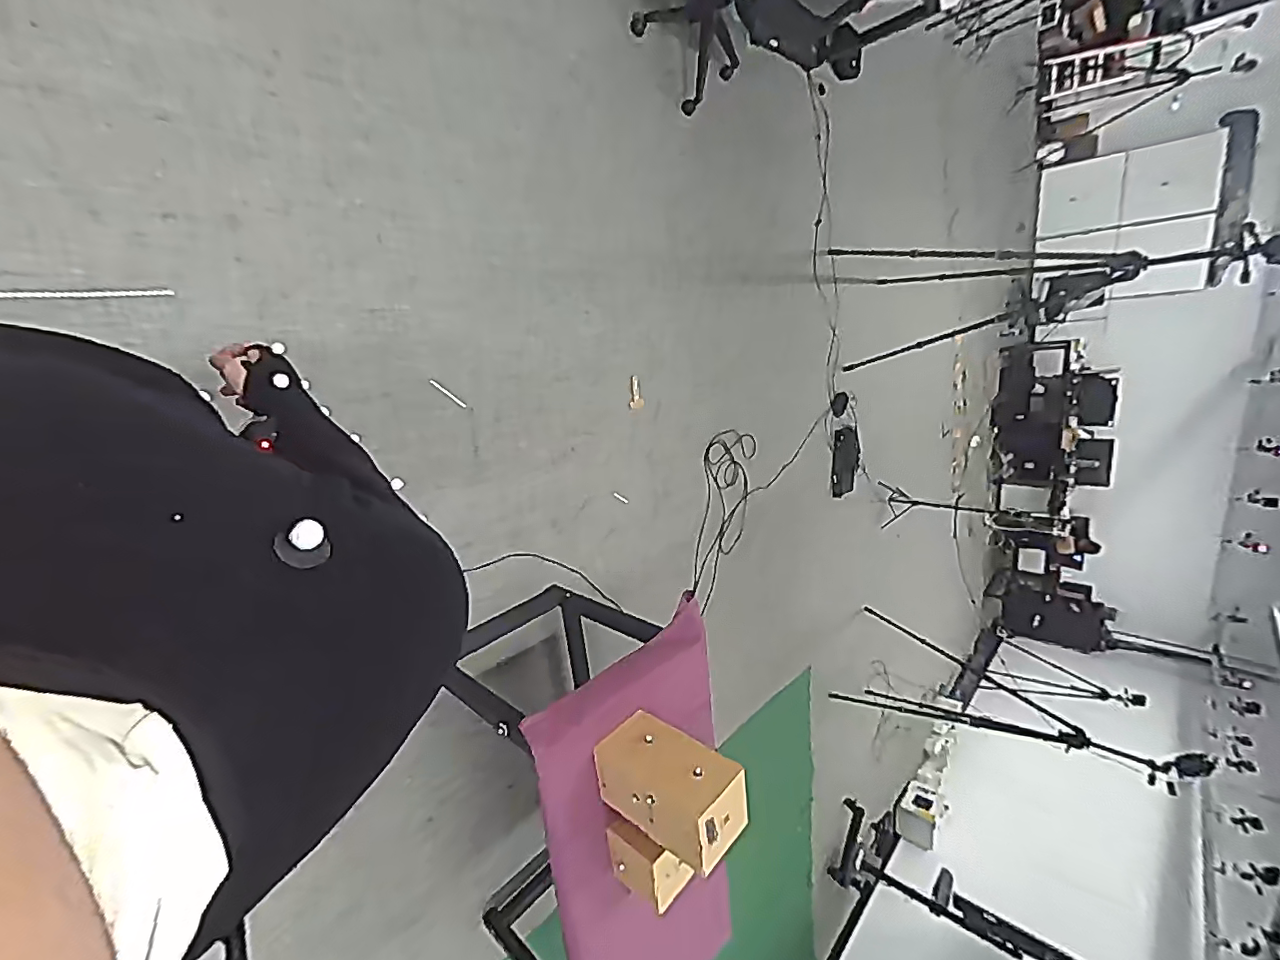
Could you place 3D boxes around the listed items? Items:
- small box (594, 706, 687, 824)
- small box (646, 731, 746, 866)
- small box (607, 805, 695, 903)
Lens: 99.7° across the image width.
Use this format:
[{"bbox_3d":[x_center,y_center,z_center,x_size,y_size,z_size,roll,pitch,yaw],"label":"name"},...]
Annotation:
[{"bbox_3d":[0.007,0.711,1.374,0.179,0.176,0.168,-23,112,-43],"label":"small box"},{"bbox_3d":[0.126,0.732,1.262,0.179,0.176,0.168,-22,113,-43],"label":"small box"},{"bbox_3d":[0.036,0.952,1.443,0.179,0.176,0.168,-22,112,-42],"label":"small box"}]
